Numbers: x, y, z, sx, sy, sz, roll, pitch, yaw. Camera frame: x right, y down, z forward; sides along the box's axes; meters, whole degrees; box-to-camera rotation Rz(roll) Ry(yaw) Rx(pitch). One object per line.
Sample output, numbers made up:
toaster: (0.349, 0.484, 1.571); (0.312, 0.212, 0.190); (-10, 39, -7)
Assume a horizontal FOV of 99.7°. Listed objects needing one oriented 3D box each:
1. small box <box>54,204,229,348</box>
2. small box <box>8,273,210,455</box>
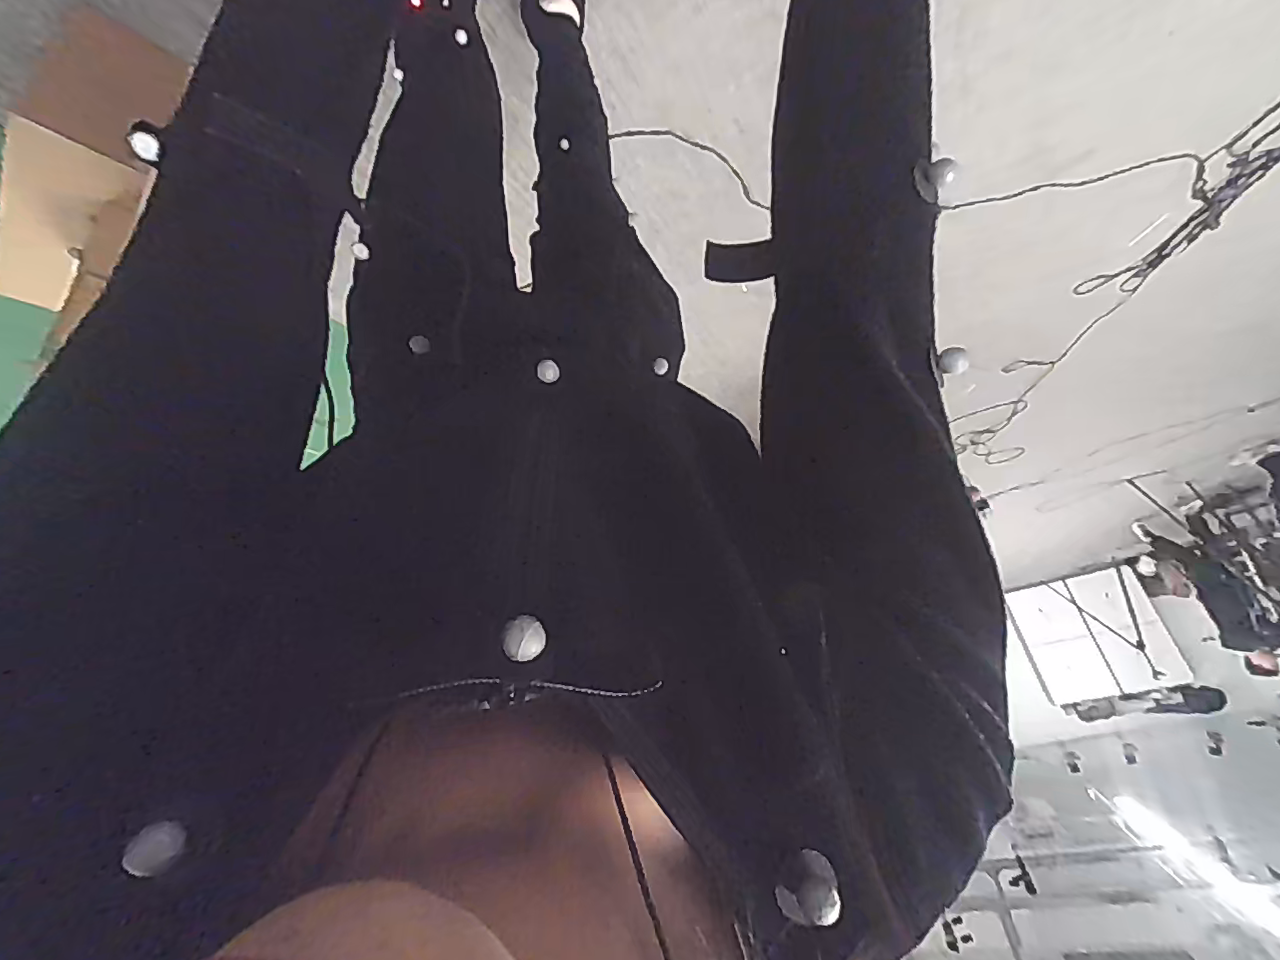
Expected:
small box: (-0.814, -0.307, 0.891); (0.168, 0.176, 0.179); (-28, 151, 28)
small box: (-0.785, -0.167, 0.814); (0.179, 0.176, 0.168); (-27, 151, 27)
